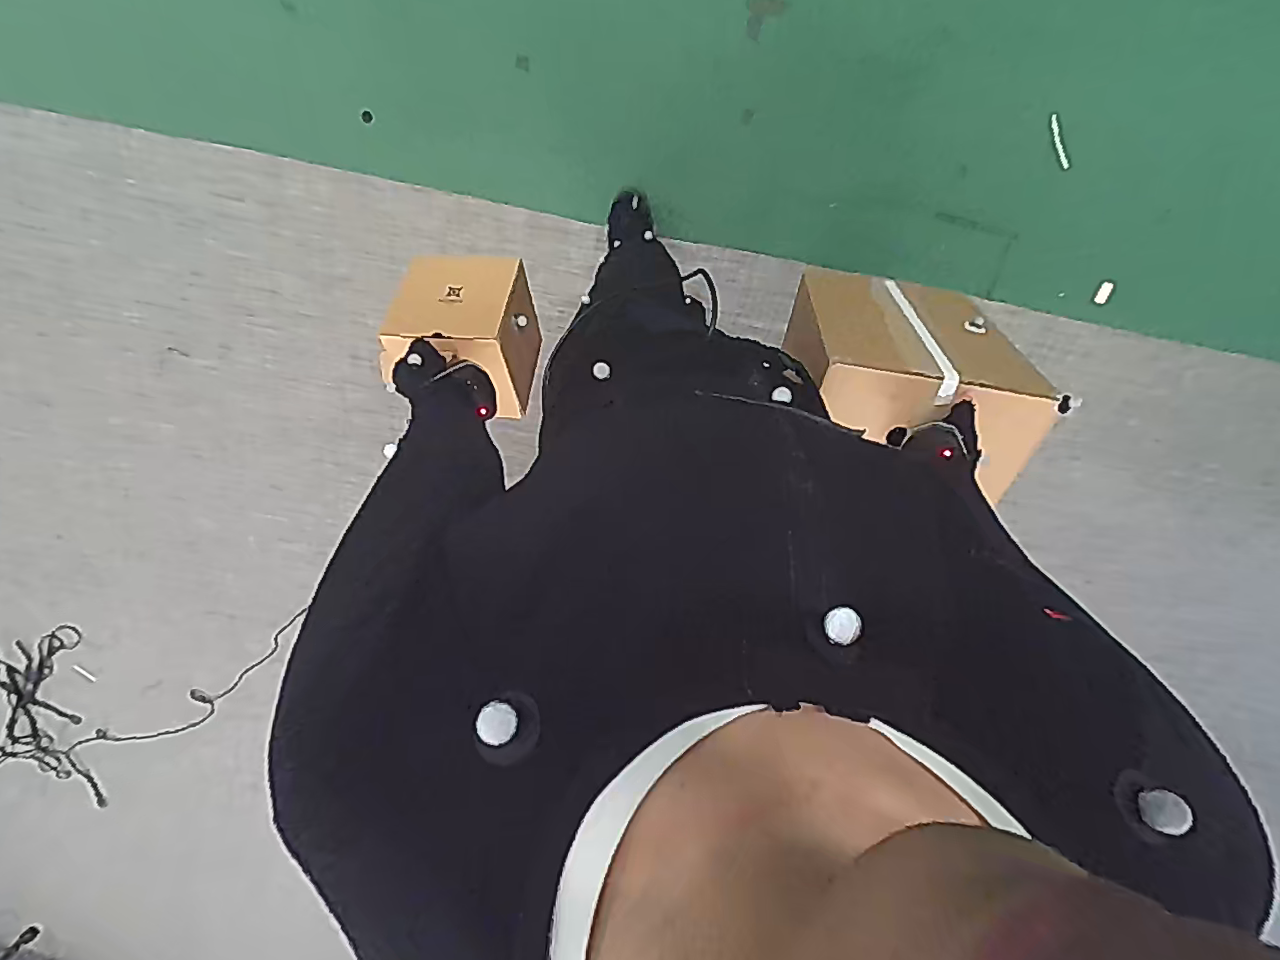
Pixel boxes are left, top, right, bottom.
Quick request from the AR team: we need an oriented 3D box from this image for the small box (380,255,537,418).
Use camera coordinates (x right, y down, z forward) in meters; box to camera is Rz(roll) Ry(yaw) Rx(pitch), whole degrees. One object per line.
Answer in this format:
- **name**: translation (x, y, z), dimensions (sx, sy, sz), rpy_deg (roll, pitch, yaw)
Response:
- **small box**: translation (-0.263, -0.219, 0.836), dimensions (0.168, 0.179, 0.176), rpy_deg (3, 149, 4)
